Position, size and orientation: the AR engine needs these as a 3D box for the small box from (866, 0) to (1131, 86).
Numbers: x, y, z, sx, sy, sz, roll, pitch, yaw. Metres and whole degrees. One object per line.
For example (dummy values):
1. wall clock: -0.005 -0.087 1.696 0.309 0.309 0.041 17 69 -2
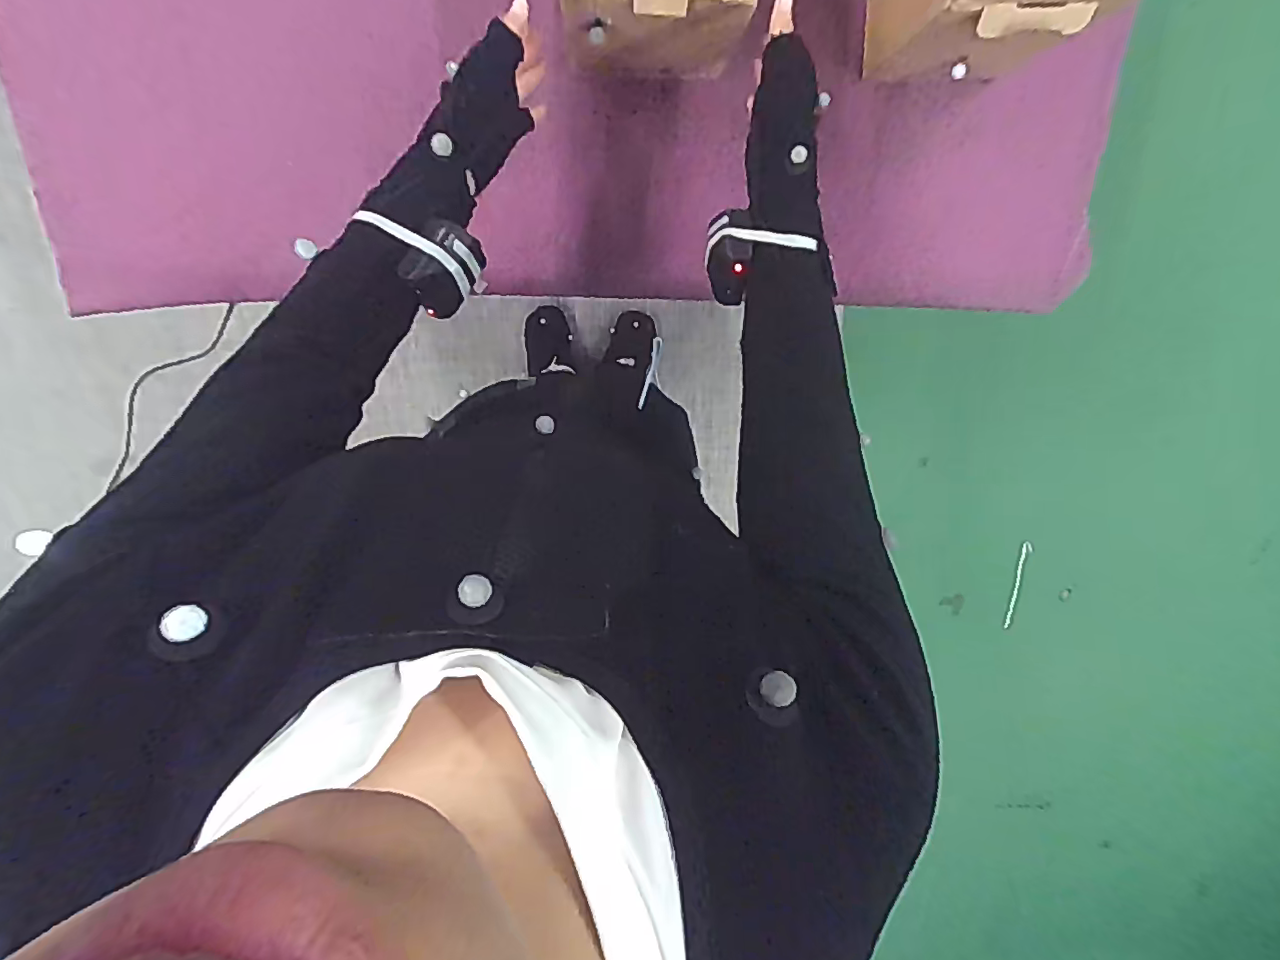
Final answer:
1. small box: 0.334 -0.510 0.514 0.168 0.176 0.179 -4 109 -3

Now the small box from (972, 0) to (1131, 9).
1. small box: 0.350 -0.462 0.360 0.168 0.176 0.179 -4 110 -4
